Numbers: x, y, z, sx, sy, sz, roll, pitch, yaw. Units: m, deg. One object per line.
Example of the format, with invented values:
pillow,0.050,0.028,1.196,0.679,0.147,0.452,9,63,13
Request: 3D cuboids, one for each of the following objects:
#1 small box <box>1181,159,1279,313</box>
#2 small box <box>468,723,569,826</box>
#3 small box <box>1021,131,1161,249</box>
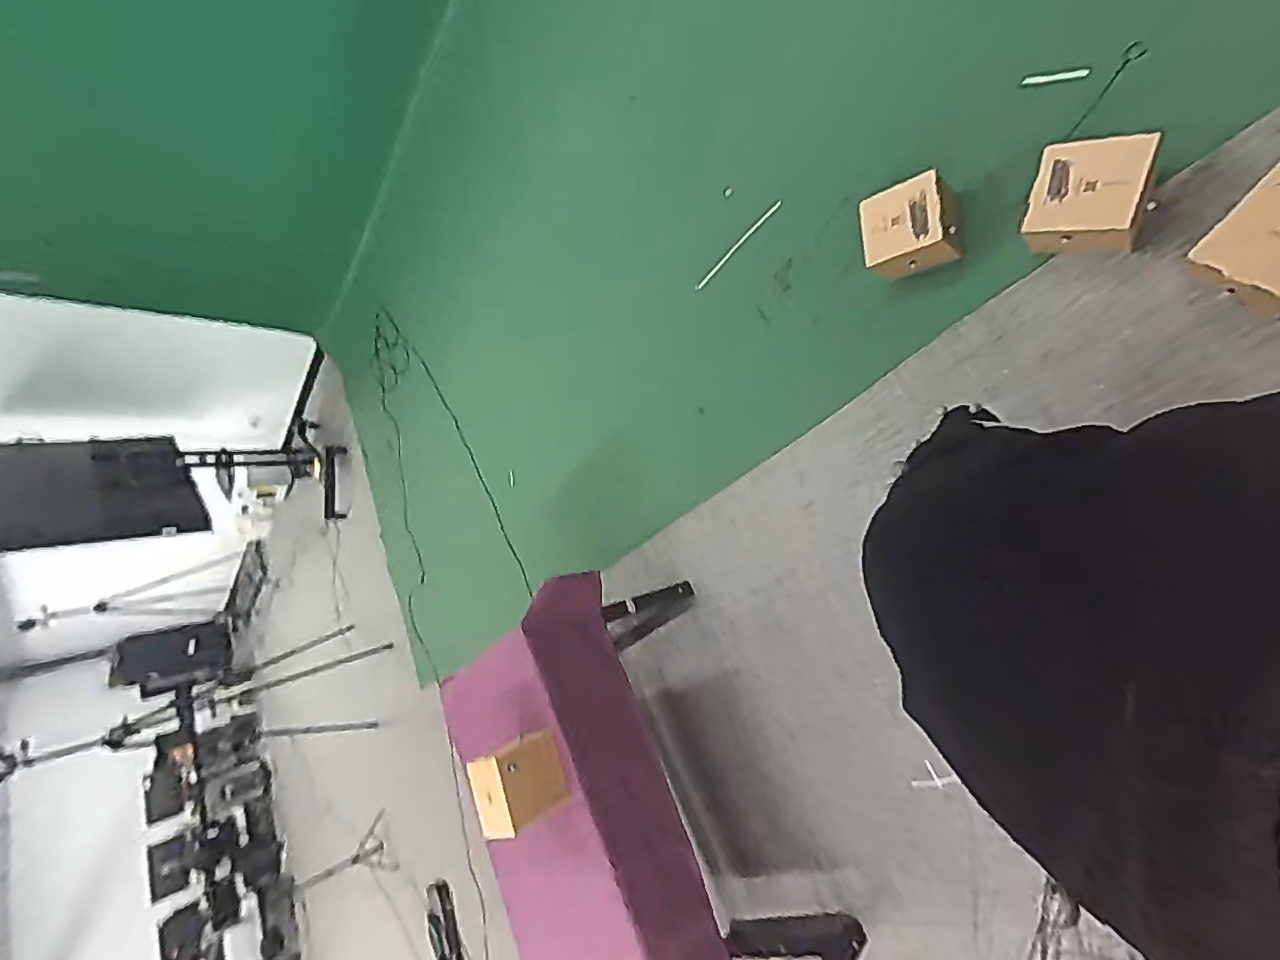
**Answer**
small box,1.104,-0.413,0.935,0.168,0.176,0.179,51,125,29
small box,-0.305,0.742,1.368,0.168,0.176,0.179,-35,69,40
small box,0.918,-0.577,1.103,0.179,0.176,0.168,21,107,40
